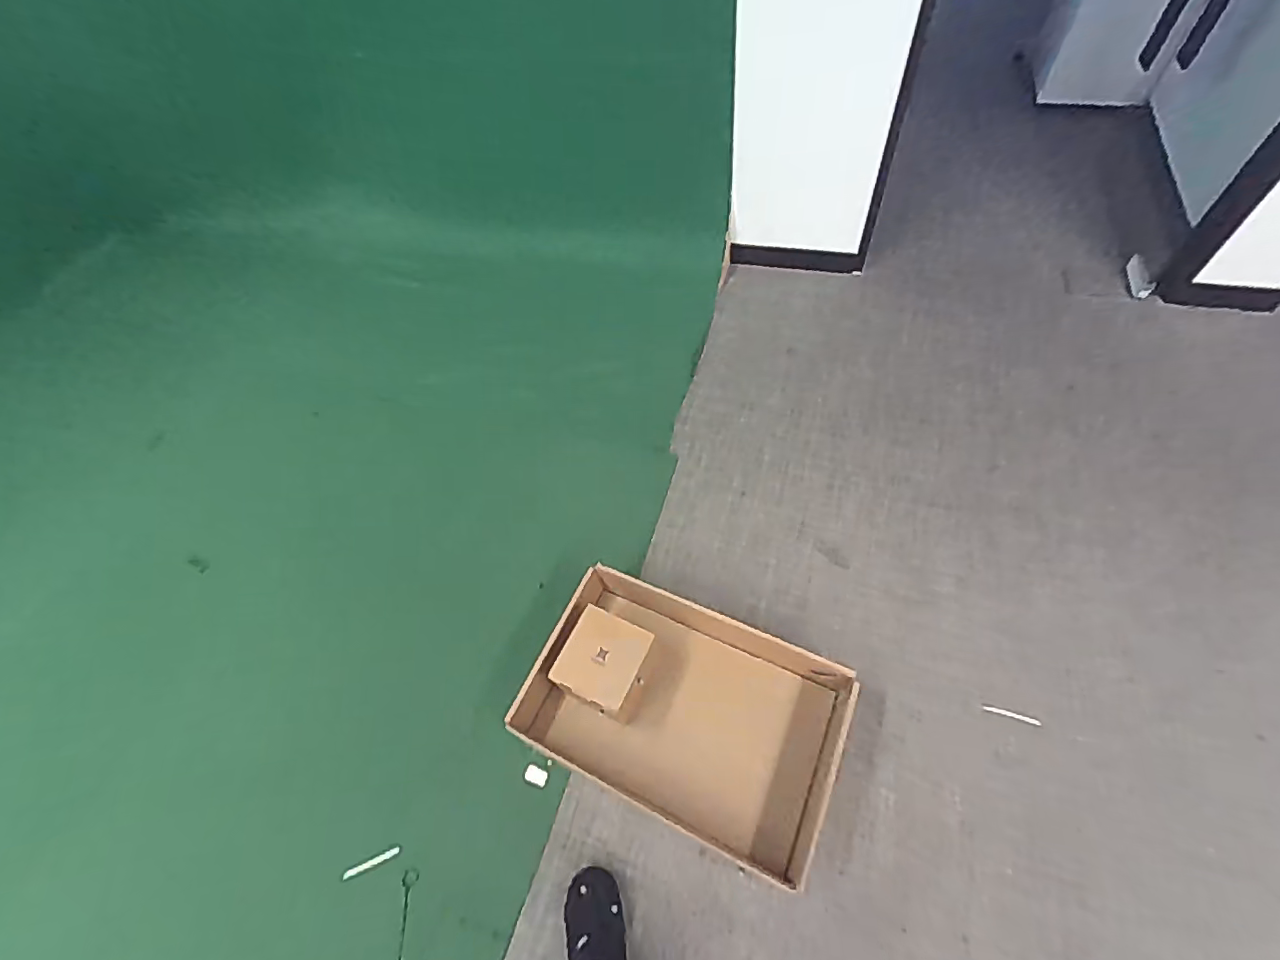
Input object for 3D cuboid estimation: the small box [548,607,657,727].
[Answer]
[{"bbox_3d":[-0.071,0.412,1.176,0.168,0.176,0.179,22,63,18],"label":"small box"}]
